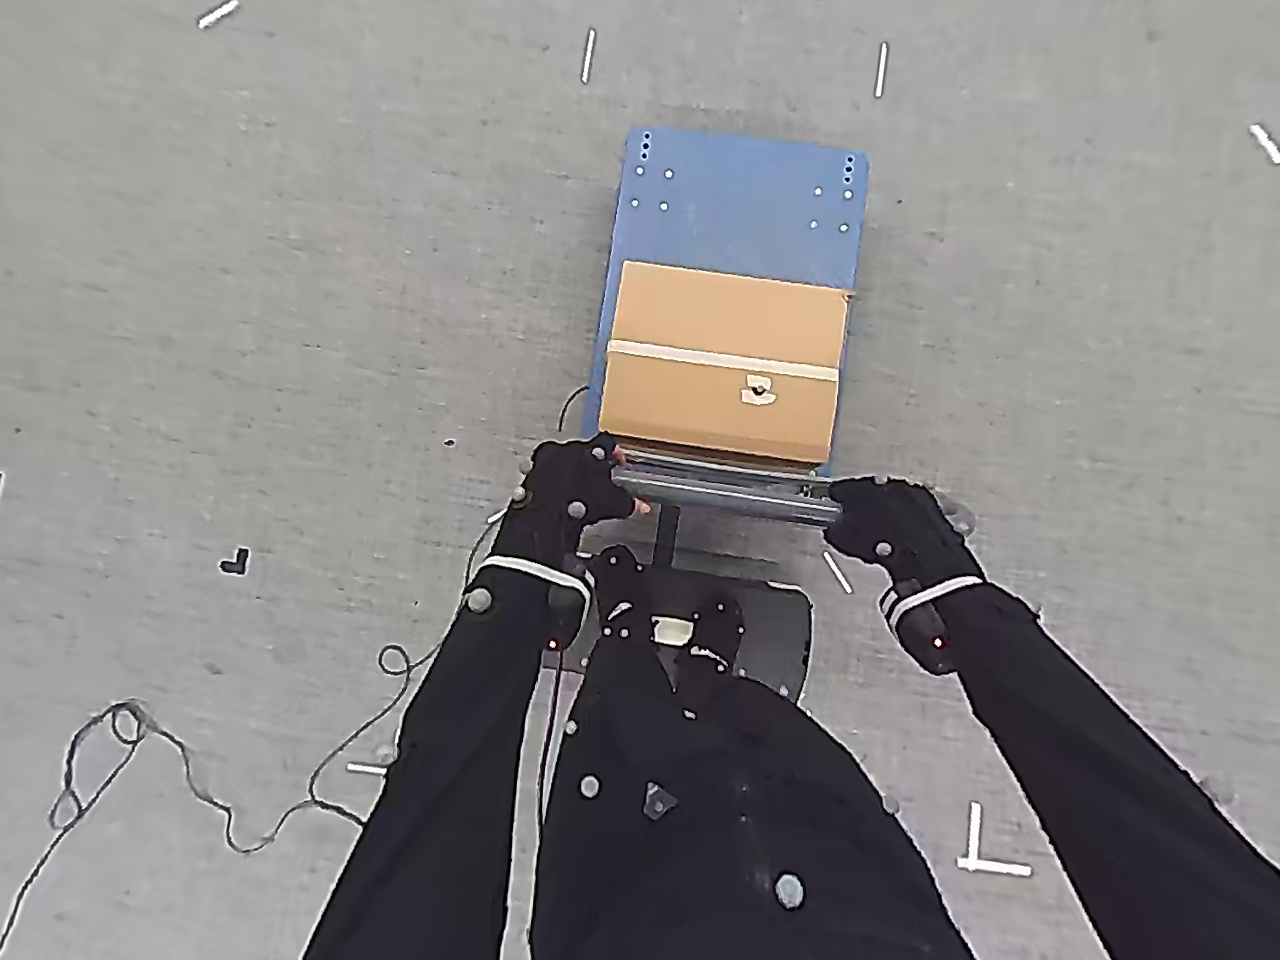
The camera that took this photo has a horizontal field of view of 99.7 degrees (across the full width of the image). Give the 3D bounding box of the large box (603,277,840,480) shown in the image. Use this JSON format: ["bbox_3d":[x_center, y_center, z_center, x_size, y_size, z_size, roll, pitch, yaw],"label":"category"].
[{"bbox_3d":[0.148,-0.185,1.117,0.408,0.320,0.320,8,87,1],"label":"large box"}]
